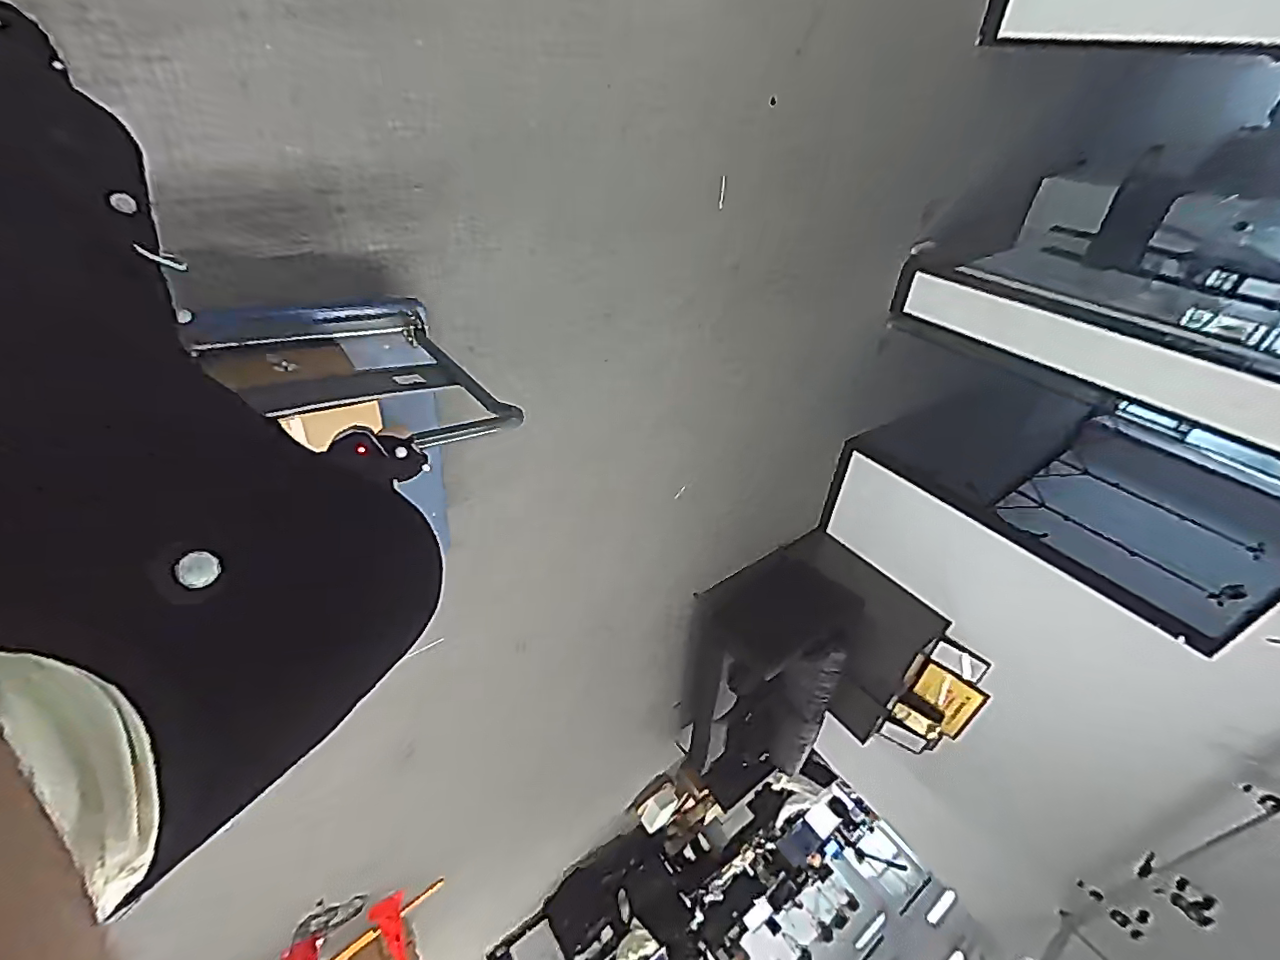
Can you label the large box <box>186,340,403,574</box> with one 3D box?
[{"bbox_3d":[-0.790,-0.067,1.266,0.320,0.320,0.408,-18,134,-33],"label":"large box"}]
